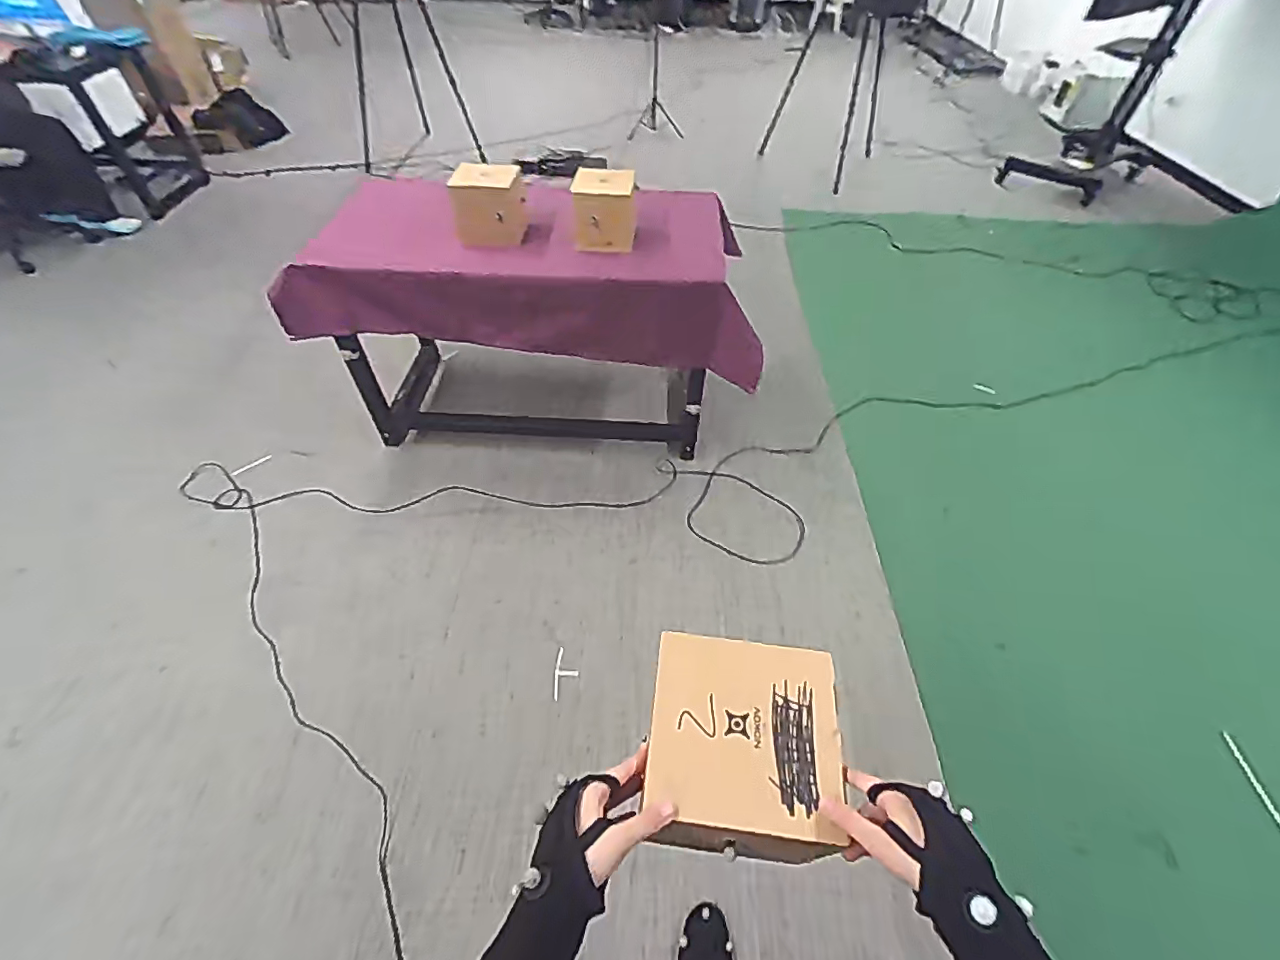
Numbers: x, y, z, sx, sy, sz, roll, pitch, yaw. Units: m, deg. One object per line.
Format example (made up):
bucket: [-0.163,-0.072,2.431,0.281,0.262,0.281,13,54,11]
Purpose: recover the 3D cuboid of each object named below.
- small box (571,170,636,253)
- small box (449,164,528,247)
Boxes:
small box: [-0.099,-0.780,1.573,0.168,0.176,0.179,4,48,2]
small box: [-0.433,-0.800,1.583,0.179,0.176,0.168,3,48,2]
